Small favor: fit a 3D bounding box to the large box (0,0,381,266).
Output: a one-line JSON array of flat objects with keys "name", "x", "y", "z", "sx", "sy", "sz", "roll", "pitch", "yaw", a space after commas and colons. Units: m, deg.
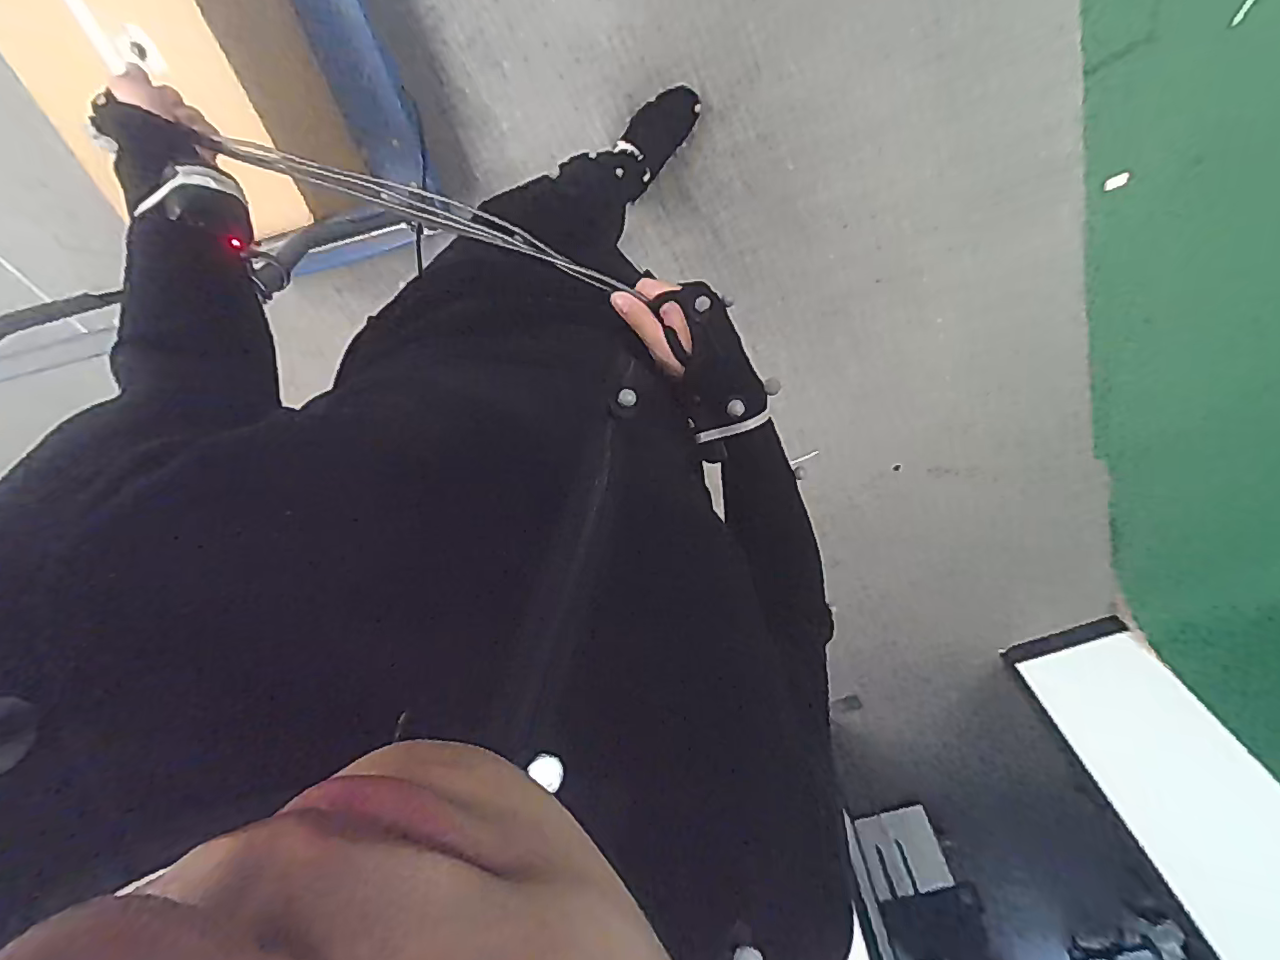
[{"name": "large box", "x": -0.743, "y": -0.649, "z": 0.950, "sx": 0.320, "sy": 0.320, "sz": 0.408, "roll": -13, "pitch": 123, "yaw": 7}]
